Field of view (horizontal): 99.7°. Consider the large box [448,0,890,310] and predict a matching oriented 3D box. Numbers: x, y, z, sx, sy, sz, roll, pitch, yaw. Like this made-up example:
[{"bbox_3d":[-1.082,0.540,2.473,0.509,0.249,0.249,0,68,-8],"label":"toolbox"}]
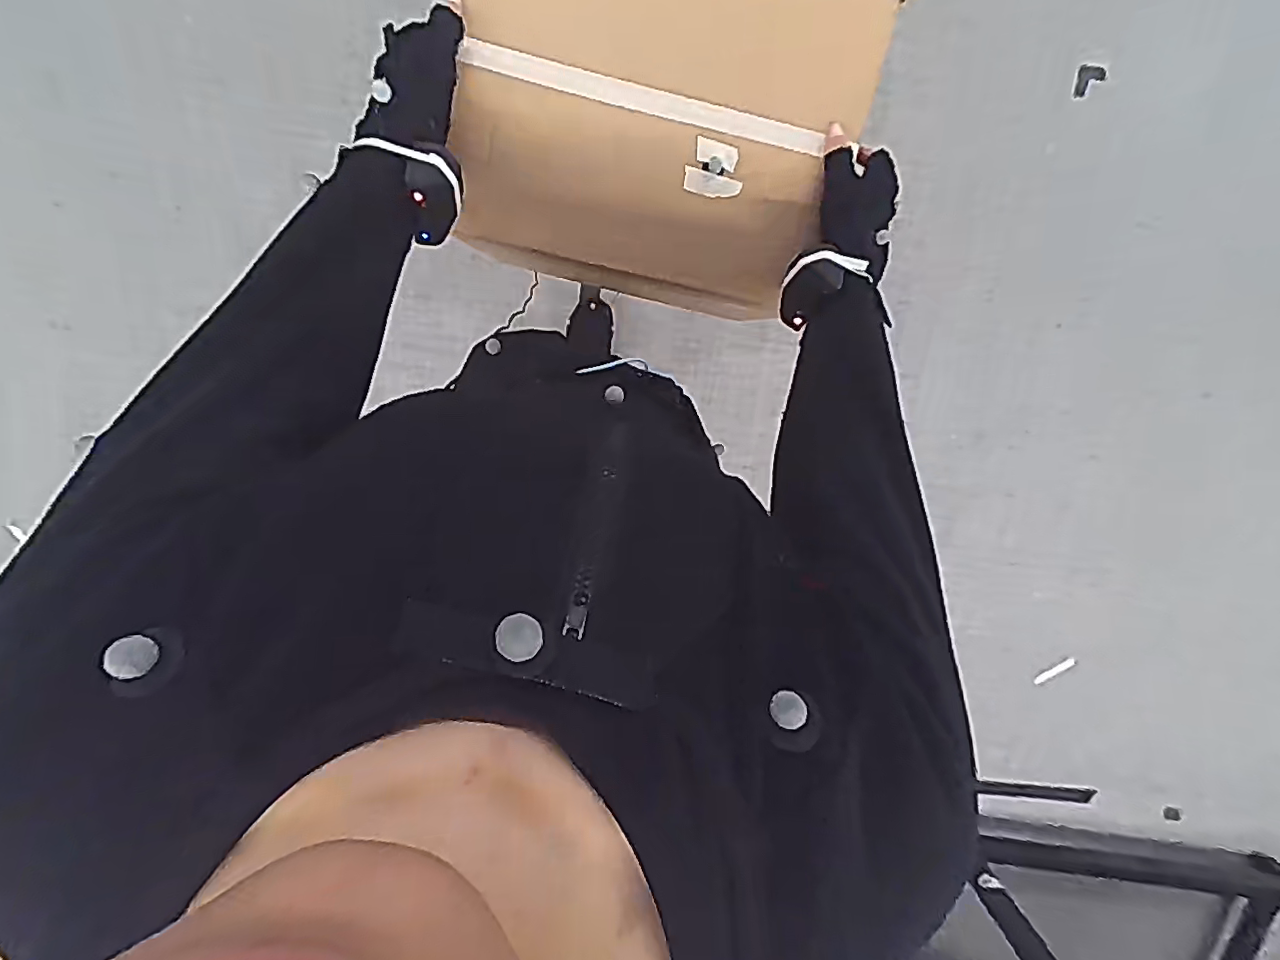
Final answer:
[{"bbox_3d":[0.013,-0.416,0.684,0.408,0.320,0.320,11,106,-6],"label":"large box"}]
